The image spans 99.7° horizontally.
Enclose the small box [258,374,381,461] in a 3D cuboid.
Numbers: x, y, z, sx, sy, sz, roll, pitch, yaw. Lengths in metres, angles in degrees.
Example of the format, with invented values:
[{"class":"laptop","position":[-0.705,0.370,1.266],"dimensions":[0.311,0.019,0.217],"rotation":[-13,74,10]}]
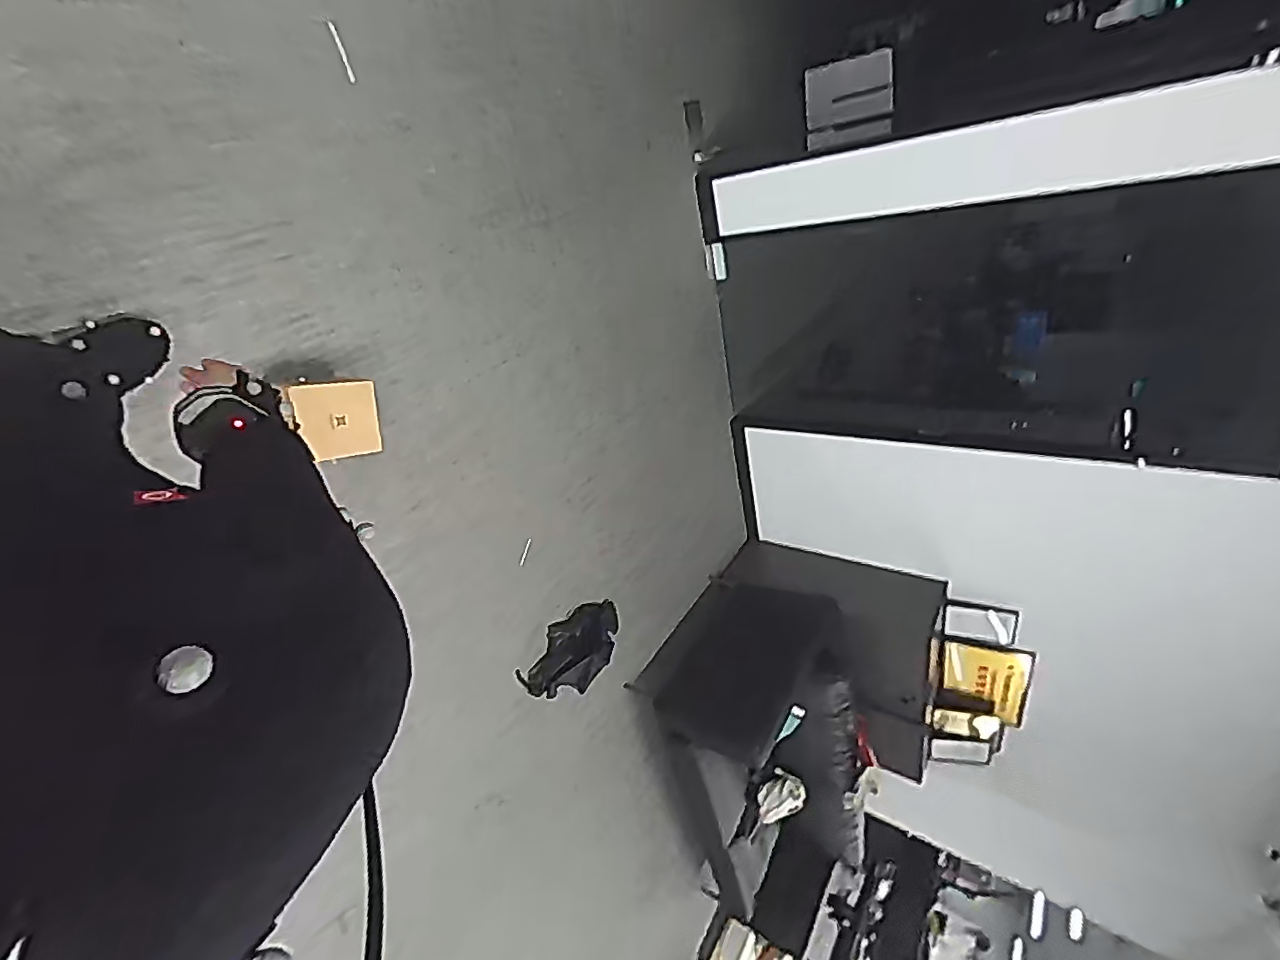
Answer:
[{"class":"small box","position":[-0.720,-0.148,1.220],"dimensions":[0.179,0.176,0.168],"rotation":[-20,115,-50]}]
